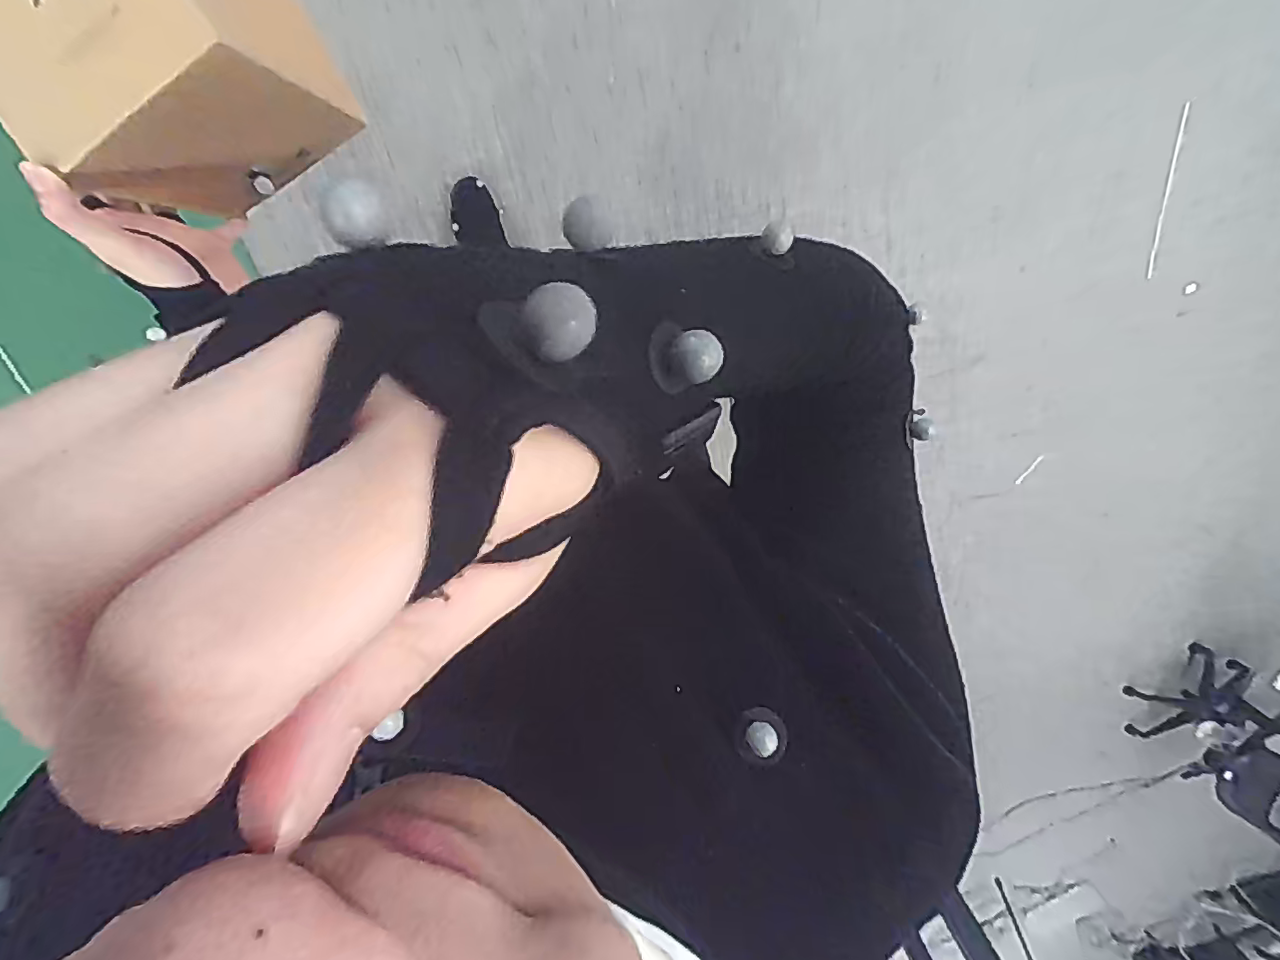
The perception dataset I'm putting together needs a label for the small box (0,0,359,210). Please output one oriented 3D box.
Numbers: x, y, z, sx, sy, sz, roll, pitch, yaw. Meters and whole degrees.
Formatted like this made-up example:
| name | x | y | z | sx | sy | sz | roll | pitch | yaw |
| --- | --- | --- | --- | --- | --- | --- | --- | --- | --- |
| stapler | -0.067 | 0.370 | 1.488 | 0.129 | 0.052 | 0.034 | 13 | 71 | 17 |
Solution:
| name | x | y | z | sx | sy | sz | roll | pitch | yaw |
| --- | --- | --- | --- | --- | --- | --- | --- | --- | --- |
| small box | -0.361 | -0.335 | 0.404 | 0.168 | 0.176 | 0.179 | -26 | 104 | 12 |
